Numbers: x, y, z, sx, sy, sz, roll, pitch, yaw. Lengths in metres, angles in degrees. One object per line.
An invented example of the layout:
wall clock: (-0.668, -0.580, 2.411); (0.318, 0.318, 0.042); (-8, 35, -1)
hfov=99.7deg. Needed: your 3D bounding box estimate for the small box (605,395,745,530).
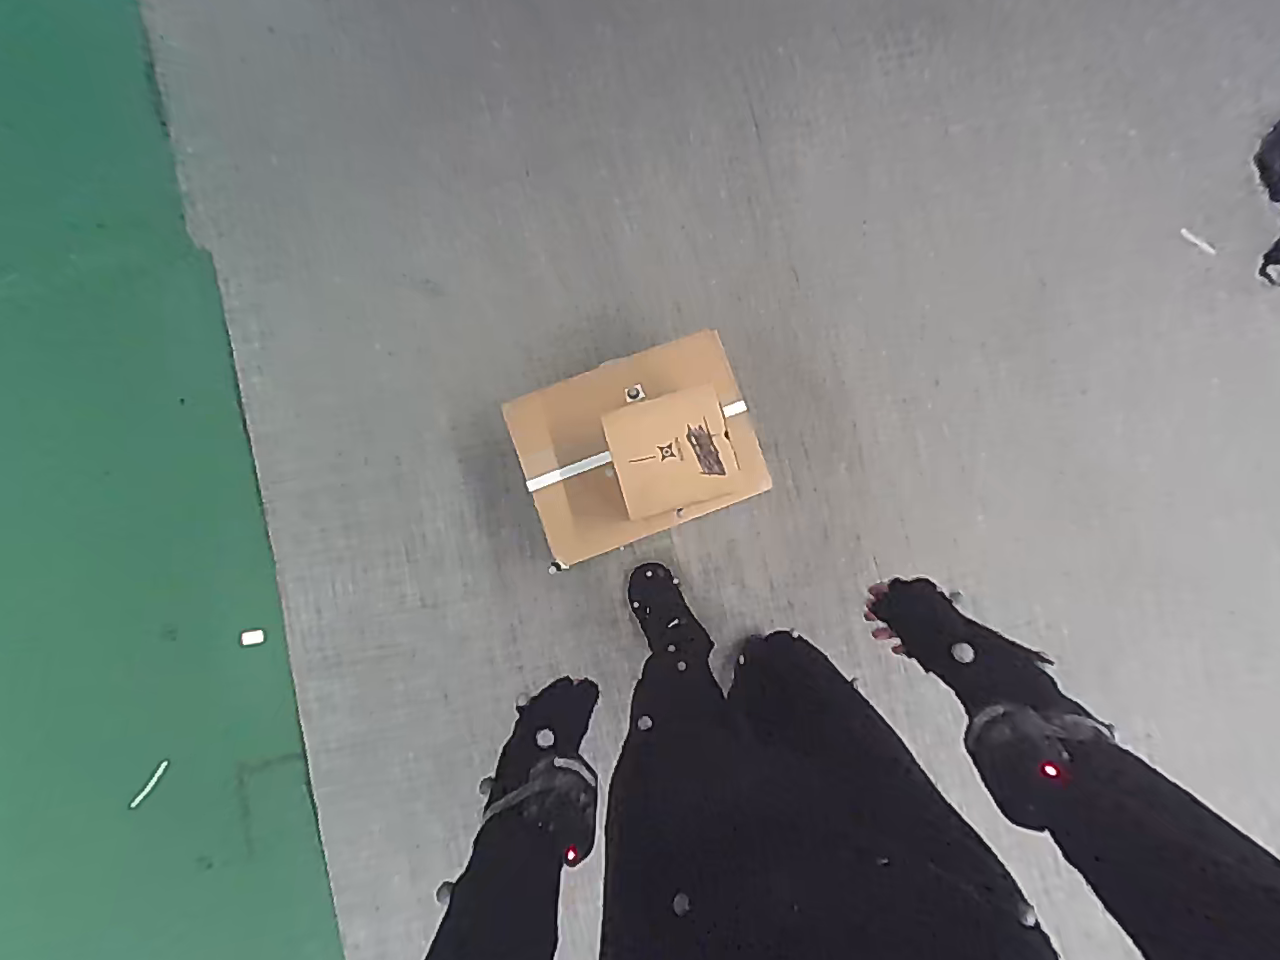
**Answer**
small box: (0.049, -0.023, 0.870); (0.179, 0.176, 0.168); (-16, 86, -1)
